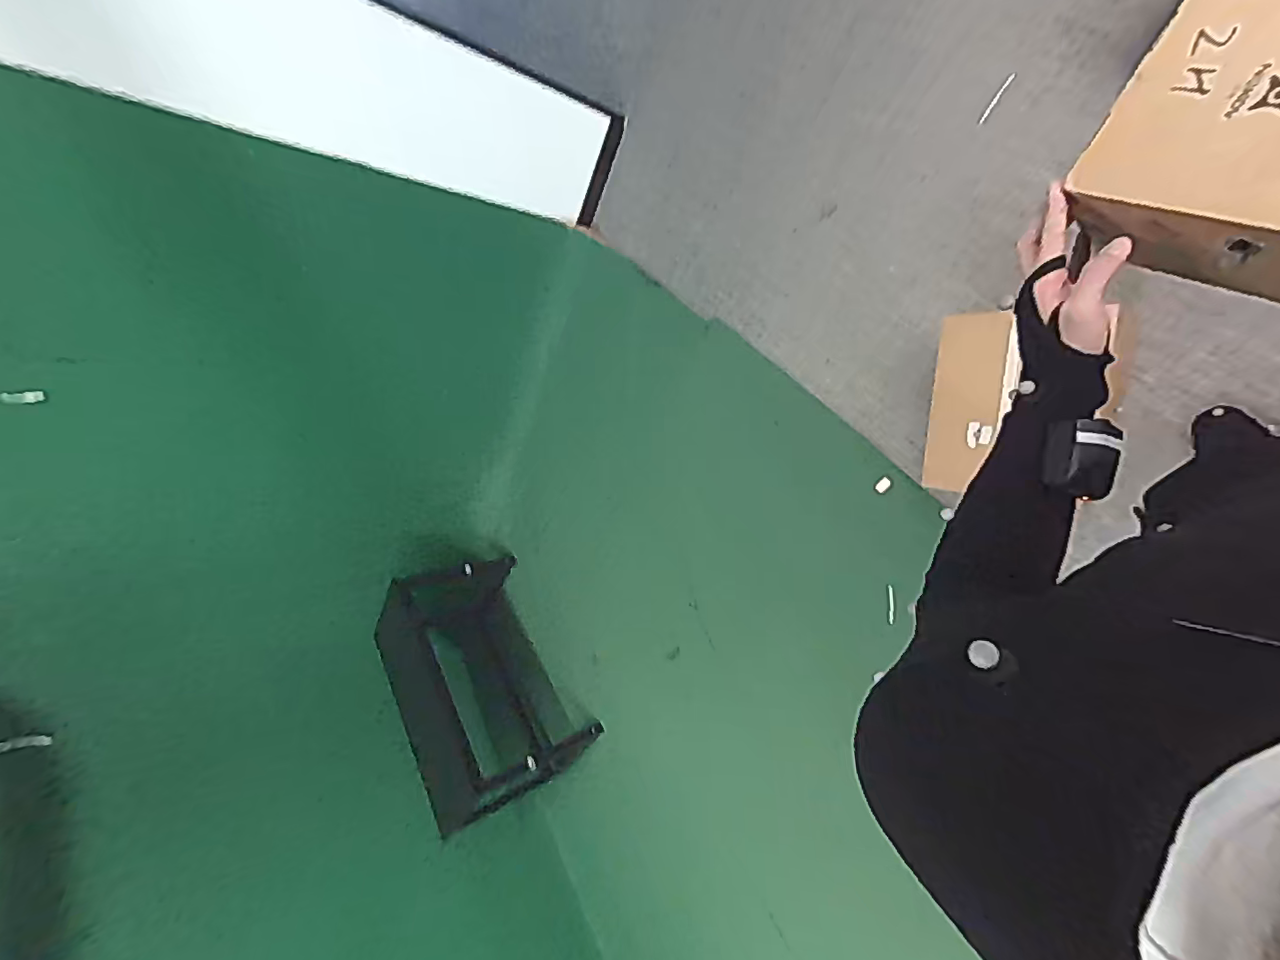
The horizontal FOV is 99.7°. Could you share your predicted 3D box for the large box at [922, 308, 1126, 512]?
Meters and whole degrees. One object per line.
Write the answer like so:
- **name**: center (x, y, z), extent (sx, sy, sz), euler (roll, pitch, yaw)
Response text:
- **large box**: center (0.895, -0.164, 1.263), extent (0.320, 0.320, 0.408), euler (12, 104, 47)
